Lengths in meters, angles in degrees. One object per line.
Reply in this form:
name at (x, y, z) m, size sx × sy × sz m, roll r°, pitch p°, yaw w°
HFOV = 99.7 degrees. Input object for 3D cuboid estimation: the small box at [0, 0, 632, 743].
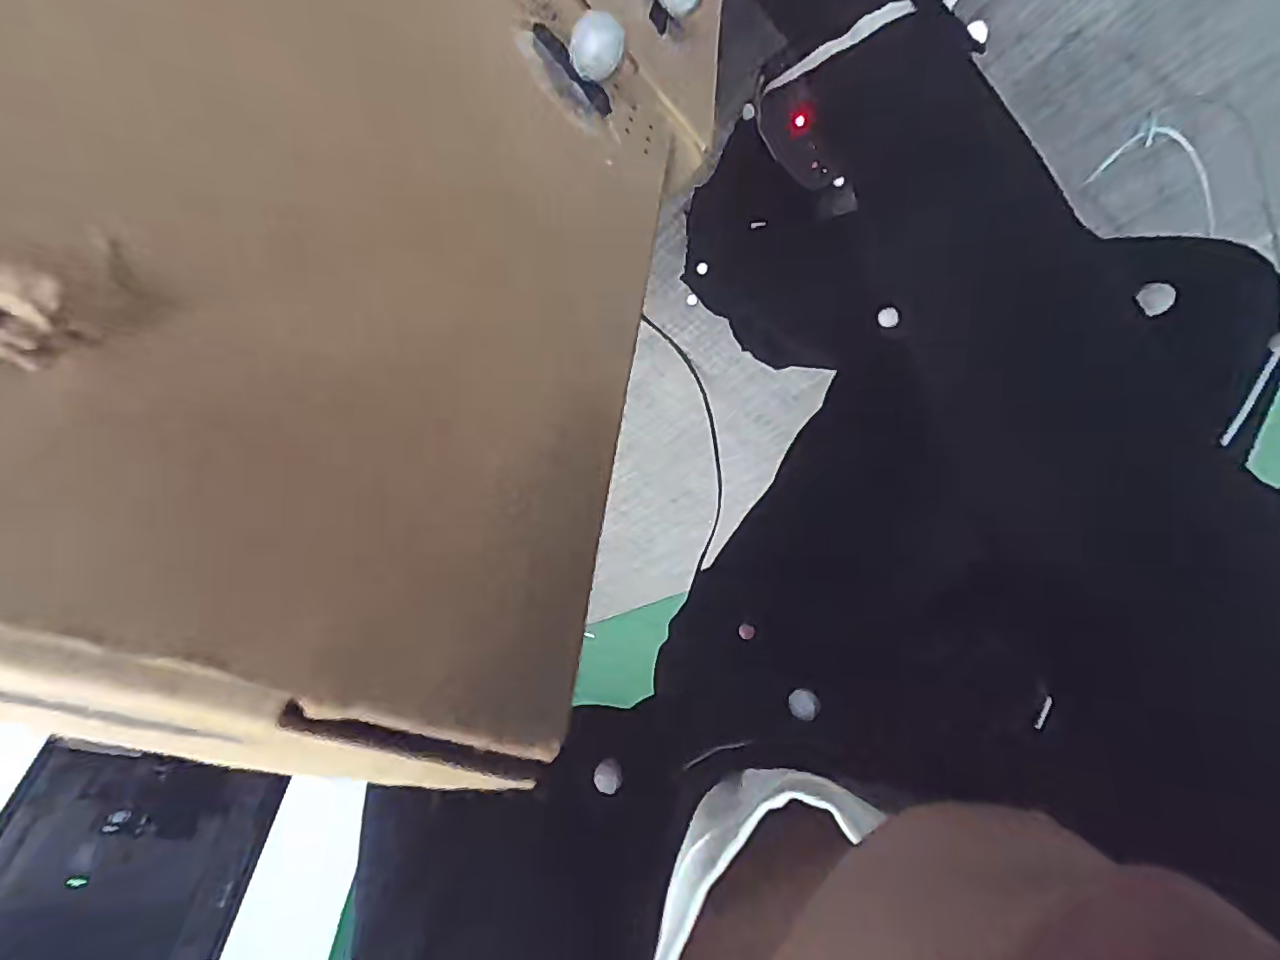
small box at (-0.116, -0.046, 0.127) m, size 0.179 × 0.176 × 0.168 m, roll -23°, pitch 135°, yaw 39°
